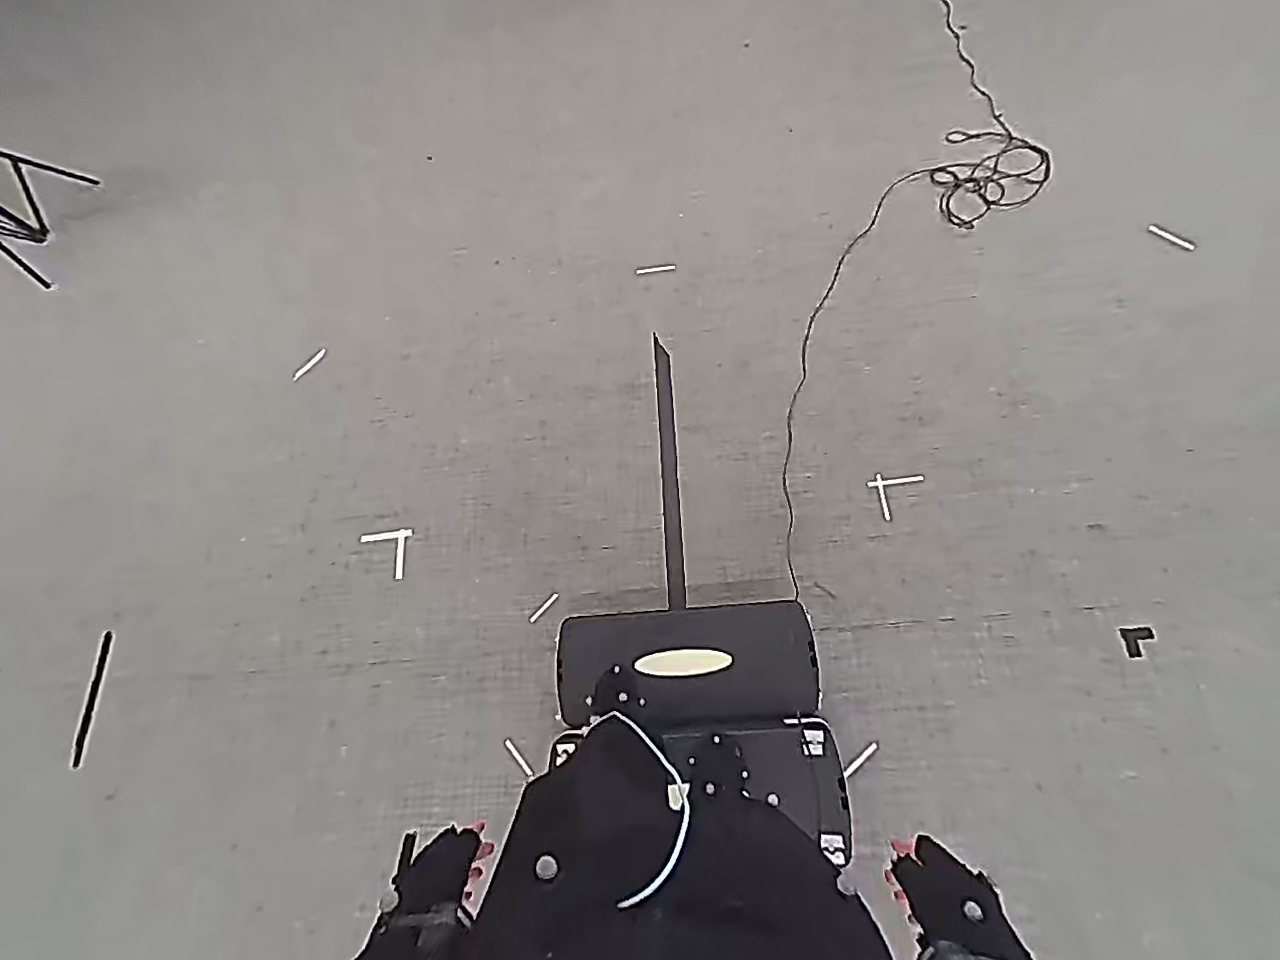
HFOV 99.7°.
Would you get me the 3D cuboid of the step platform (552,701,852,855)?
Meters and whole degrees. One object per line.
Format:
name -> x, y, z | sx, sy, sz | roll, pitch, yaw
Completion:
step platform -> 0.136, 0.701, 1.284 | 0.684, 0.204, 0.286 | -7, 69, 7
